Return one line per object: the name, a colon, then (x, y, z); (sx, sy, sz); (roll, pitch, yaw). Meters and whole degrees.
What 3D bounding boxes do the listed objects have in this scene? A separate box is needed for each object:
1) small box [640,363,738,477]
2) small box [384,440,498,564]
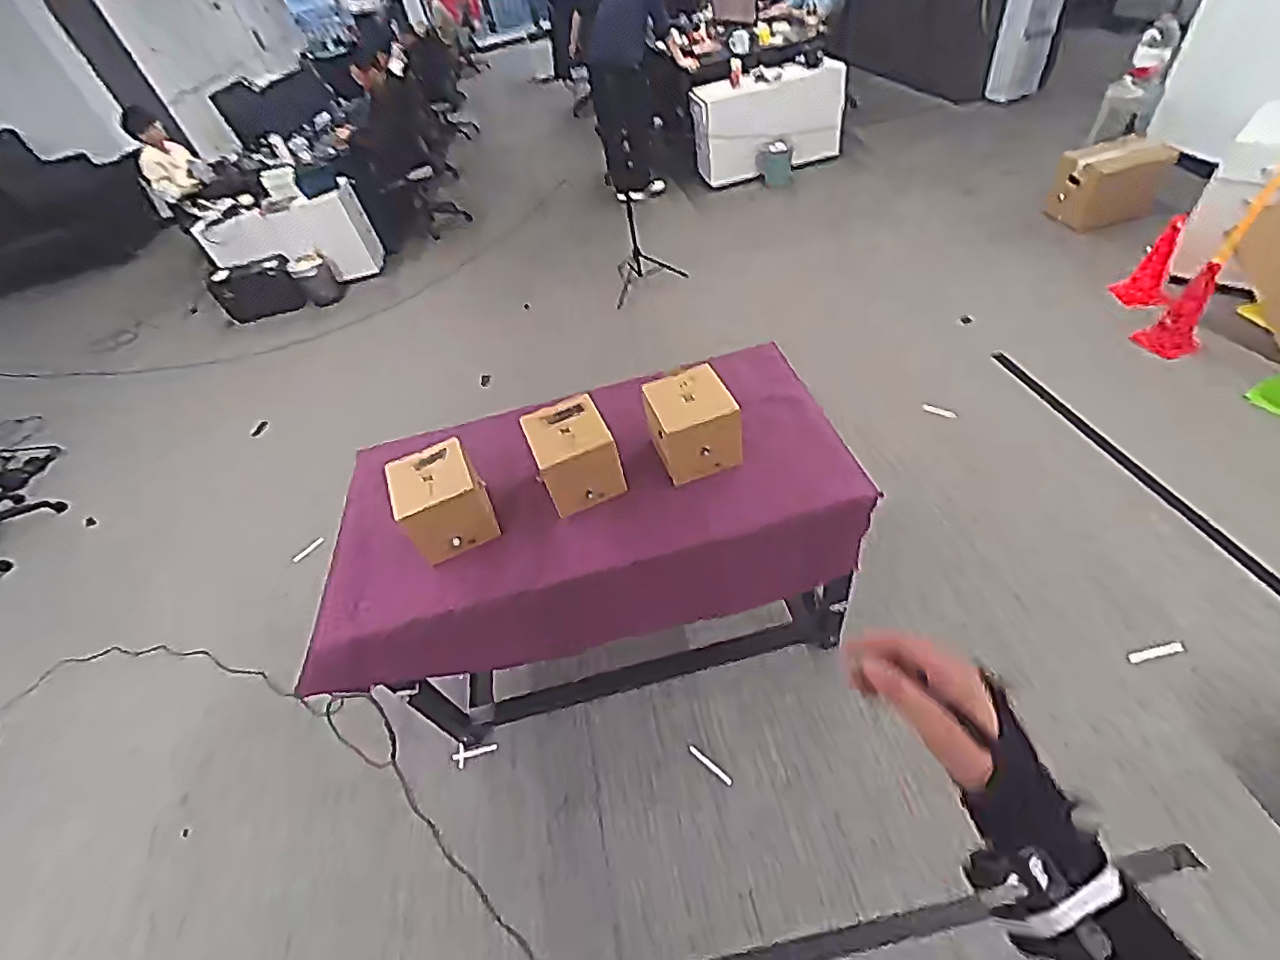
small box: (0.113, -0.127, 1.213); (0.168, 0.176, 0.179); (-19, 46, -5)
small box: (-0.432, 0.050, 1.182); (0.168, 0.176, 0.179); (-25, 48, -10)
